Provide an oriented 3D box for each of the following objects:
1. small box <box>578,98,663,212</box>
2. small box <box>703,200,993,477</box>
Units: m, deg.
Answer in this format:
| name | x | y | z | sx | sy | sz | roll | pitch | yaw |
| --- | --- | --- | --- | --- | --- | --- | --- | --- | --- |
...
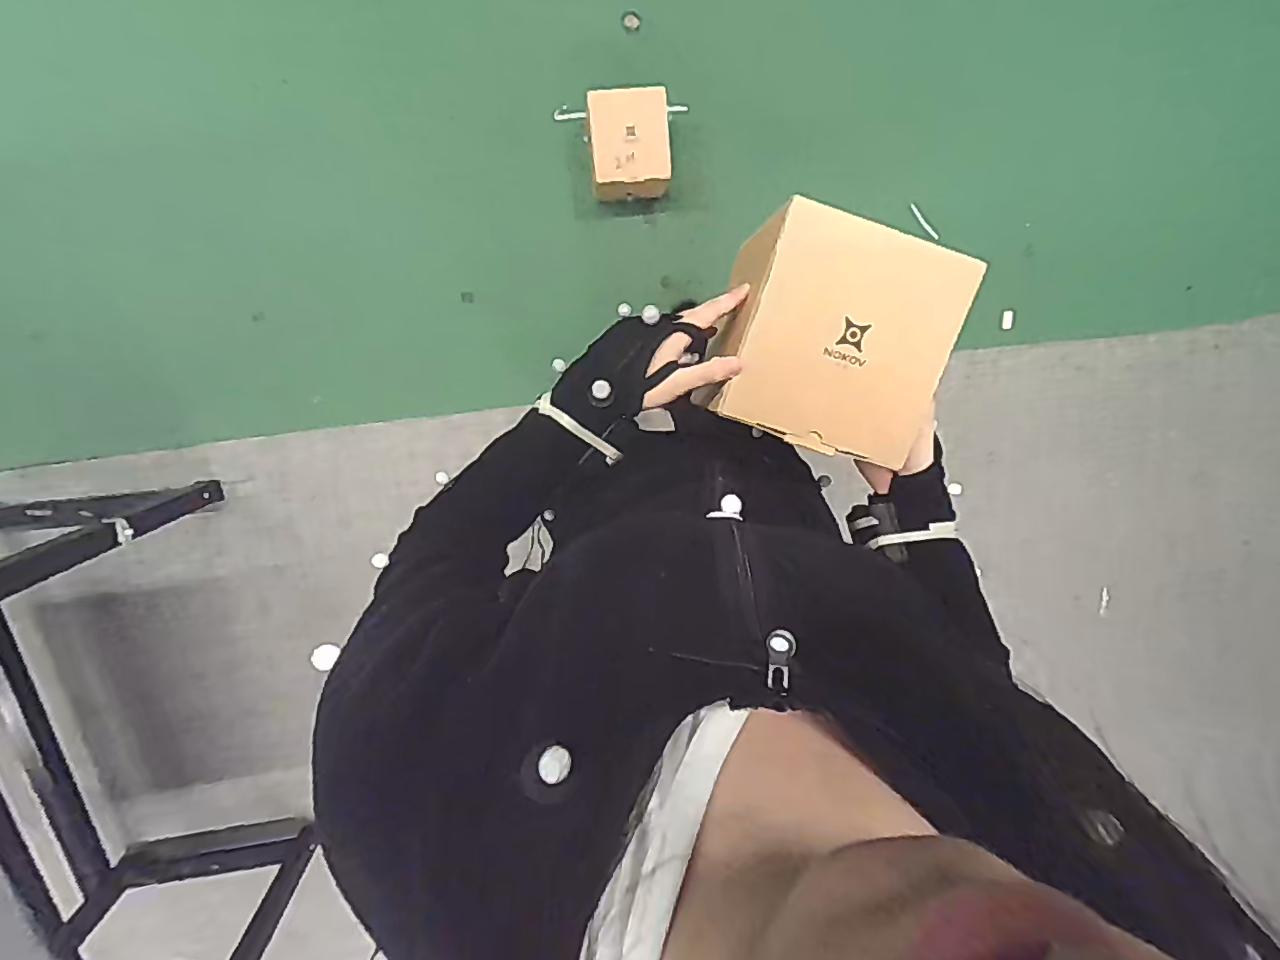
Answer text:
| name | x | y | z | sx | sy | sz | roll | pitch | yaw |
| --- | --- | --- | --- | --- | --- | --- | --- | --- | --- |
| small box | -0.049 | -0.723 | 1.216 | 0.168 | 0.176 | 0.179 | -7 | 104 | -6 |
| small box | 0.170 | -0.121 | 0.504 | 0.168 | 0.176 | 0.179 | 17 | 100 | -7 |
